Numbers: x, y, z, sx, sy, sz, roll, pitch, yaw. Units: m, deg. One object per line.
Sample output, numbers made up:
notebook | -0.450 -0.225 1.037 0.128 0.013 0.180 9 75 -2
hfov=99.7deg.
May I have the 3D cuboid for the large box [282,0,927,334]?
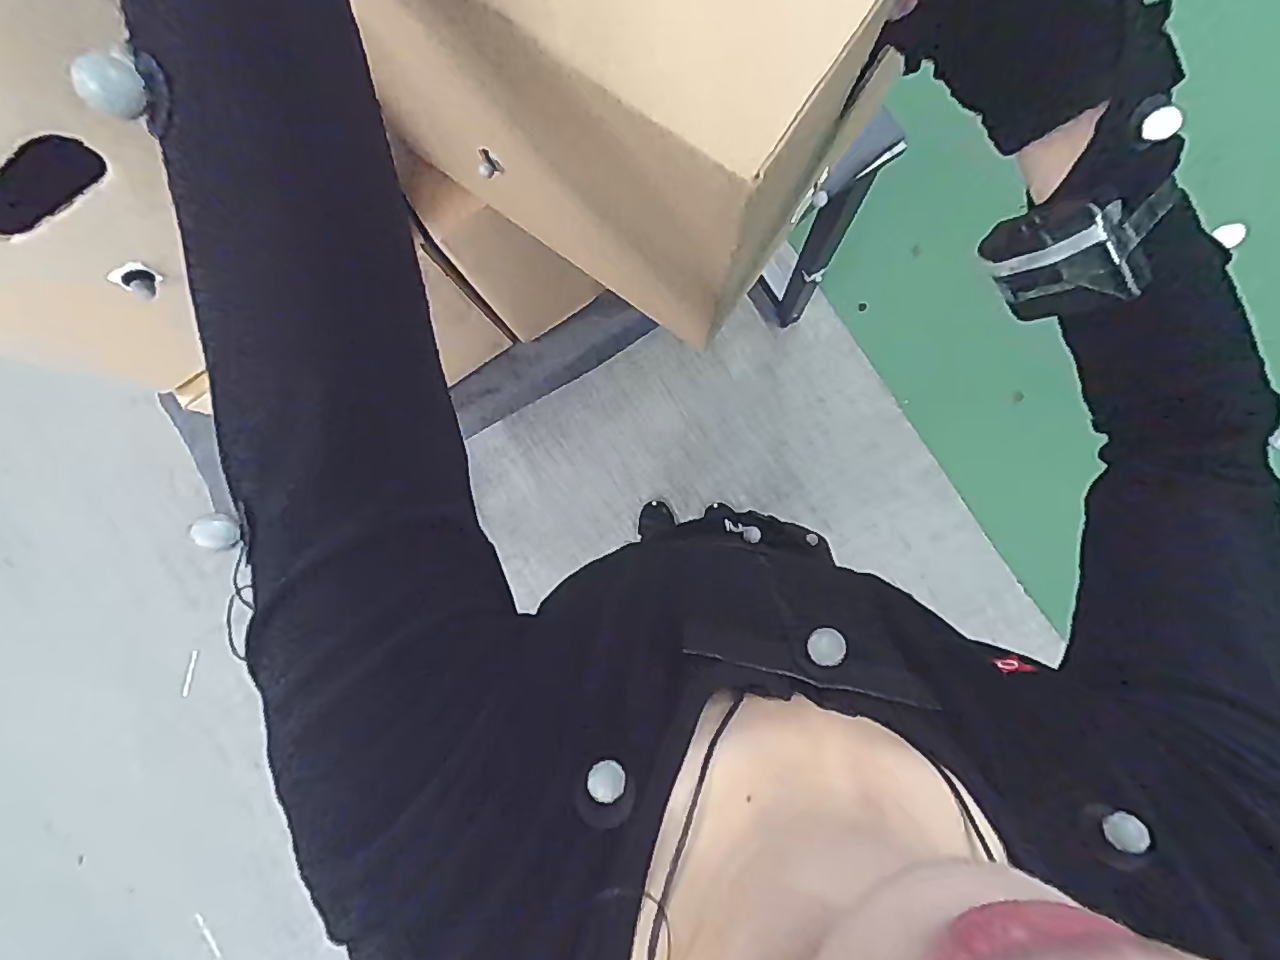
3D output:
large box | -0.019 -0.369 0.388 0.408 0.320 0.320 35 91 3
